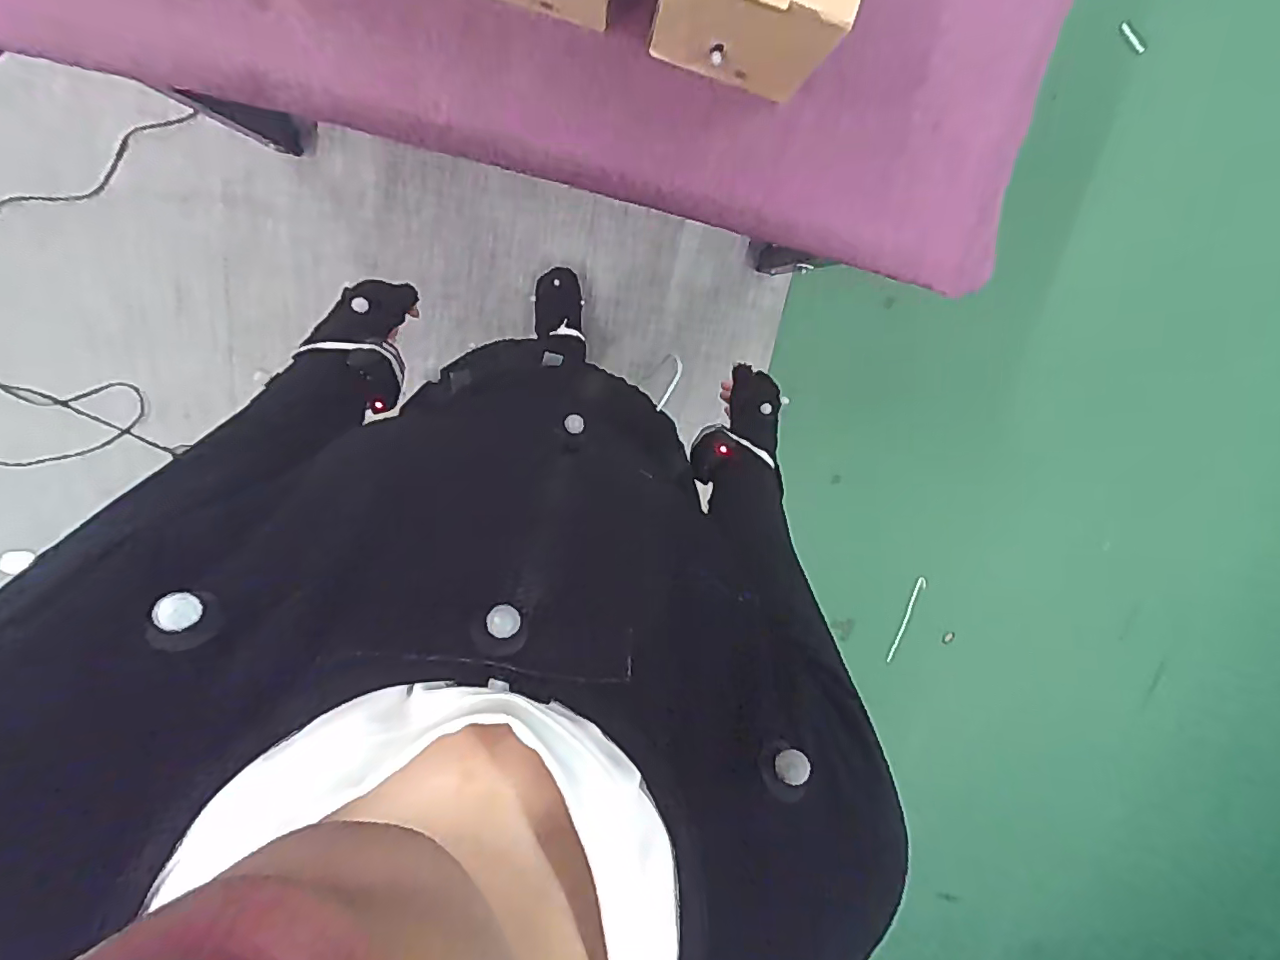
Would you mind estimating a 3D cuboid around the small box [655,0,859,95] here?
[{"bbox_3d":[0.119,-0.514,0.510,0.168,0.176,0.179,13,106,-10],"label":"small box"}]
